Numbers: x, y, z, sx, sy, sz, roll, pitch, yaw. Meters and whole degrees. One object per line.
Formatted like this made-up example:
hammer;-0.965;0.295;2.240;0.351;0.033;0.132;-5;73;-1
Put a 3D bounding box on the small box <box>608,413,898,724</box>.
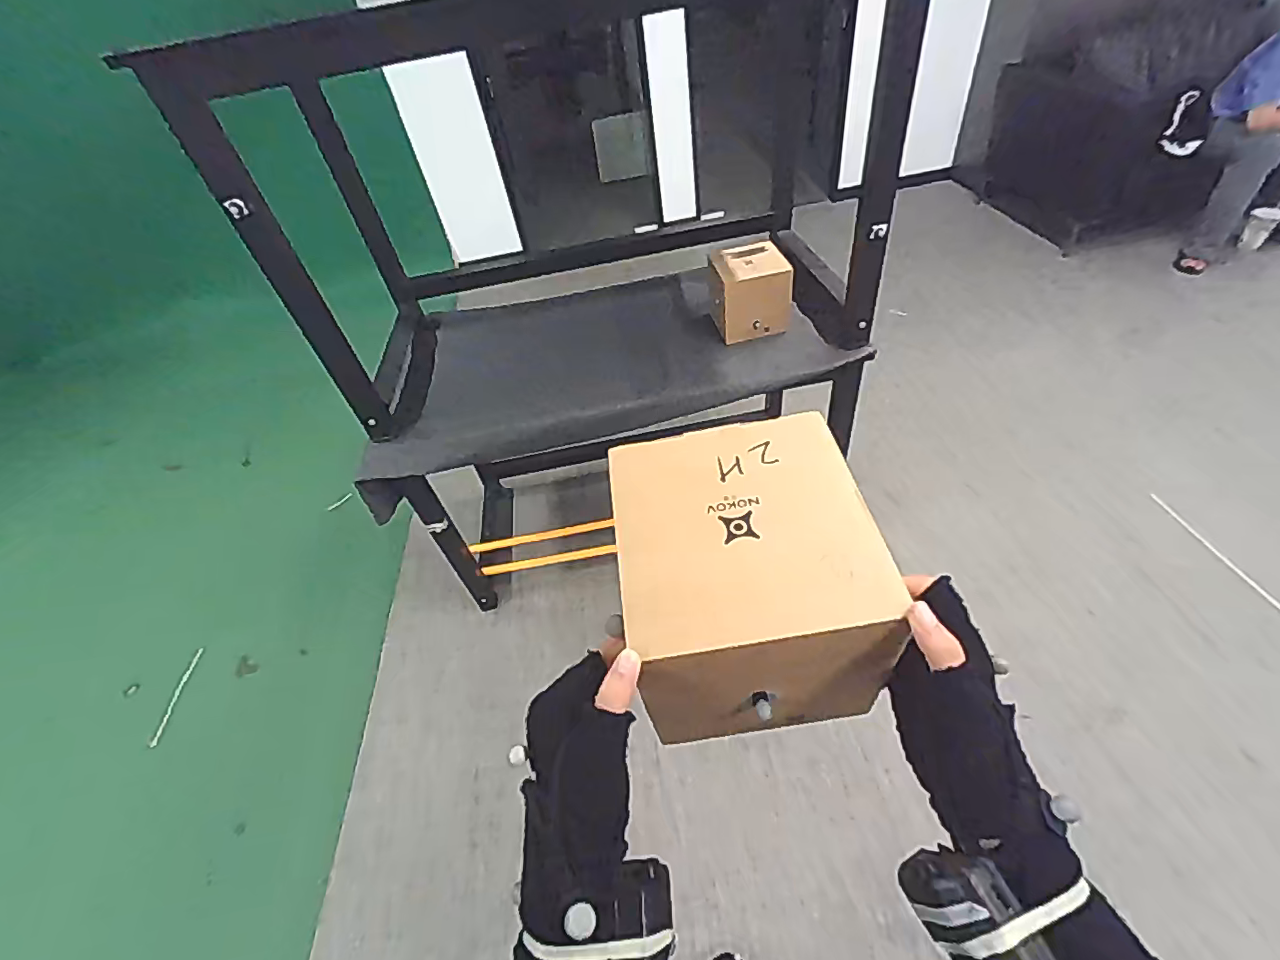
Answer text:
small box;0.075;0.078;0.429;0.168;0.176;0.179;-10;48;2
